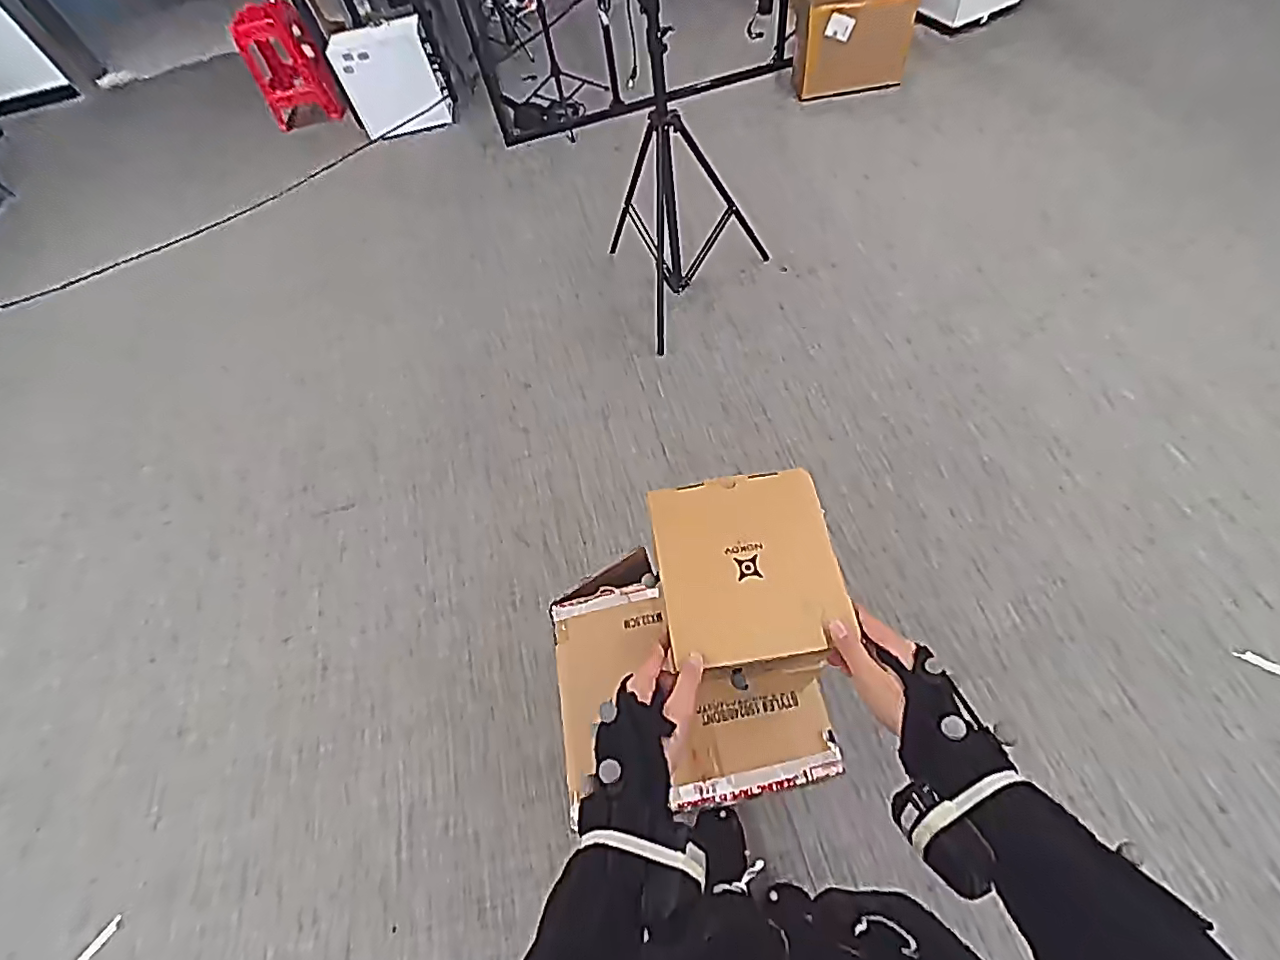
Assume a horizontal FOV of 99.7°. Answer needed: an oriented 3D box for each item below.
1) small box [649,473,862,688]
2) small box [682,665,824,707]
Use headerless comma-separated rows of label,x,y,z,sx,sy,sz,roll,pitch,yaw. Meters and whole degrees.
small box,0.107,0.116,0.572,0.168,0.176,0.179,-10,63,0
small box,0.139,0.216,0.765,0.179,0.176,0.168,-9,60,2
